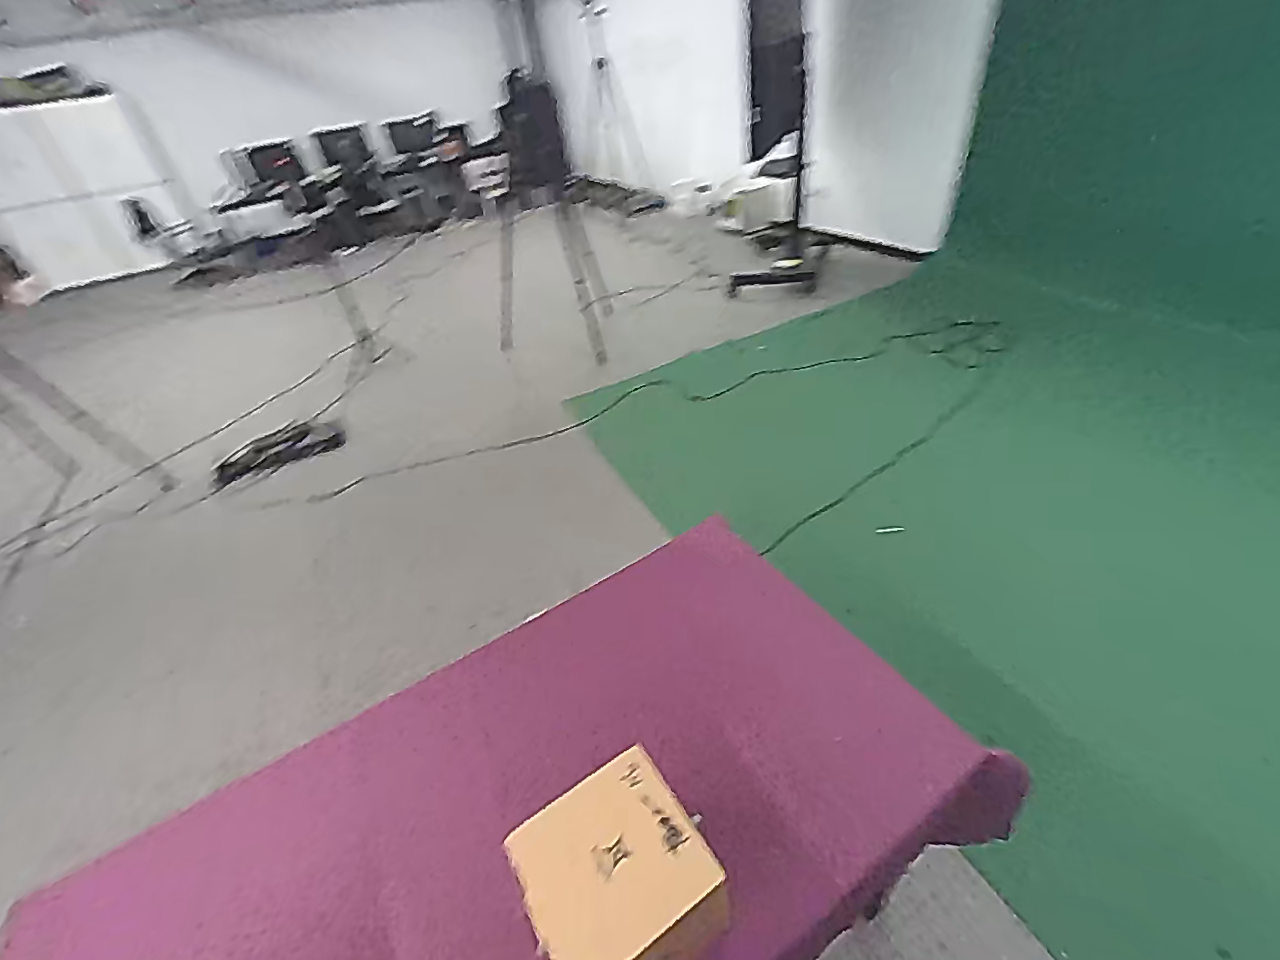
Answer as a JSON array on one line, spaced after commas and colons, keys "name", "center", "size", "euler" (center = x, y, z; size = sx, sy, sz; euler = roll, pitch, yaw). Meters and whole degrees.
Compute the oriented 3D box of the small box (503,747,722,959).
[{"name": "small box", "center": [-0.023, 0.451, 0.603], "size": [0.179, 0.176, 0.168], "euler": [-28, 41, -21]}]
